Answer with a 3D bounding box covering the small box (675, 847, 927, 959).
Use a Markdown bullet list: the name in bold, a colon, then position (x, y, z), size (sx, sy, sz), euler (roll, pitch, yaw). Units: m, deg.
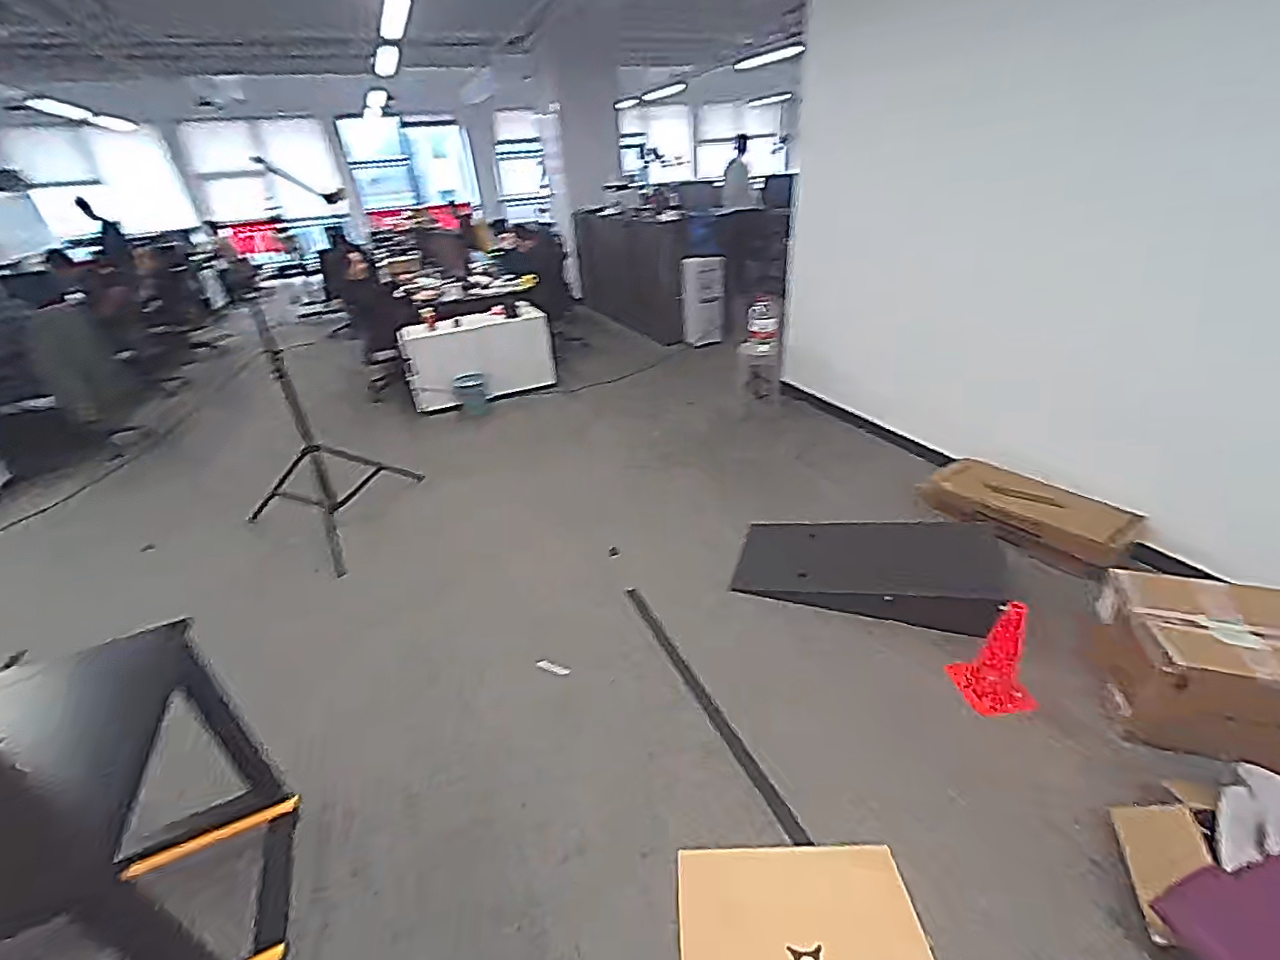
- **small box**: position (0.110, 0.394, 0.371), size (0.168, 0.176, 0.179), euler (-4, 22, 3)
